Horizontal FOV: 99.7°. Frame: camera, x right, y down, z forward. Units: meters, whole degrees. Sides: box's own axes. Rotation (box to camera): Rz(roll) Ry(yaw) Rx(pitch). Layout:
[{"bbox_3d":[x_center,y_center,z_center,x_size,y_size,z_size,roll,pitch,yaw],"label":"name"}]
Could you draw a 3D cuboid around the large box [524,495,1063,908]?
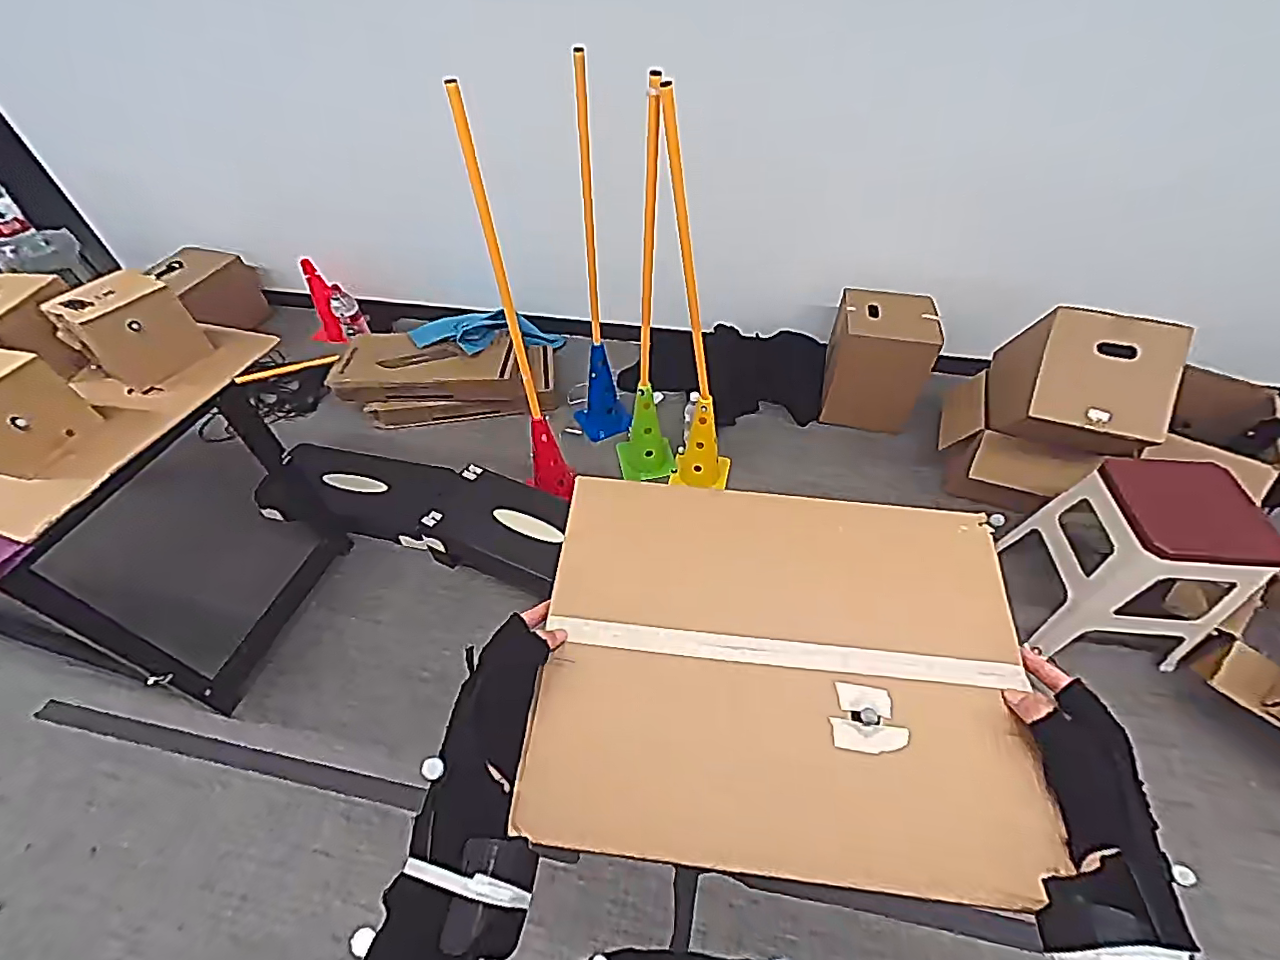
[{"bbox_3d":[0.120,0.237,0.599,0.408,0.320,0.320,5,60,3],"label":"large box"}]
